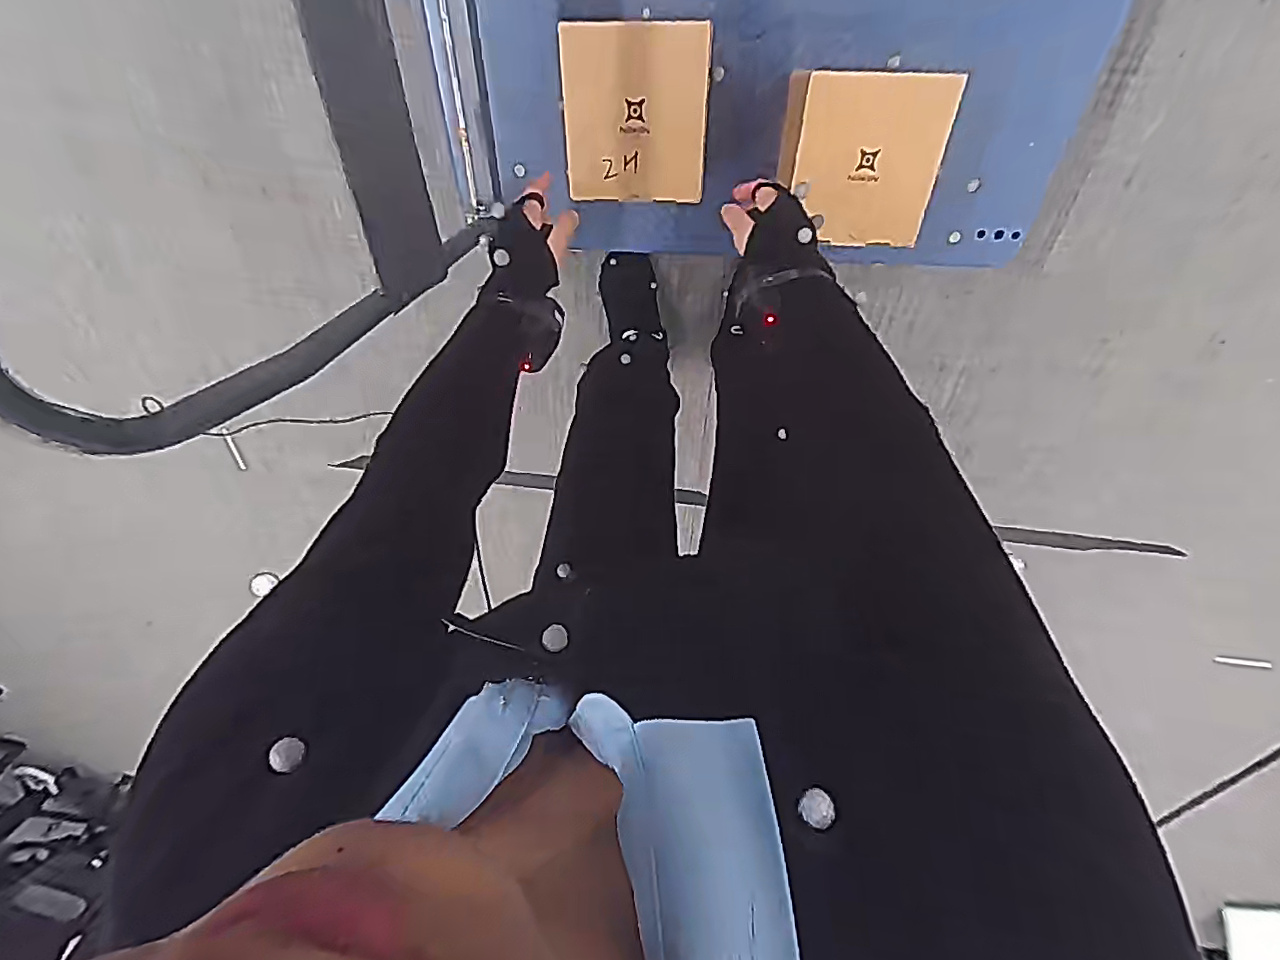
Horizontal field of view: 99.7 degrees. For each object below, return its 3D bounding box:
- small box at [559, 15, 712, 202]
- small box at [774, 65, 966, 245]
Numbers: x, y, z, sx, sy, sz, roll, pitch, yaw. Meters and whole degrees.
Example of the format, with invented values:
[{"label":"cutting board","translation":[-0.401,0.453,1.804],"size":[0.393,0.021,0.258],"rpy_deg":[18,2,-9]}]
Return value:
[{"label":"small box","translation":[0.000,-0.465,0.681],"size":[0.168,0.176,0.179],"rpy_deg":[4,129,5]},{"label":"small box","translation":[0.269,-0.414,0.686],"size":[0.168,0.176,0.179],"rpy_deg":[4,128,4]}]
